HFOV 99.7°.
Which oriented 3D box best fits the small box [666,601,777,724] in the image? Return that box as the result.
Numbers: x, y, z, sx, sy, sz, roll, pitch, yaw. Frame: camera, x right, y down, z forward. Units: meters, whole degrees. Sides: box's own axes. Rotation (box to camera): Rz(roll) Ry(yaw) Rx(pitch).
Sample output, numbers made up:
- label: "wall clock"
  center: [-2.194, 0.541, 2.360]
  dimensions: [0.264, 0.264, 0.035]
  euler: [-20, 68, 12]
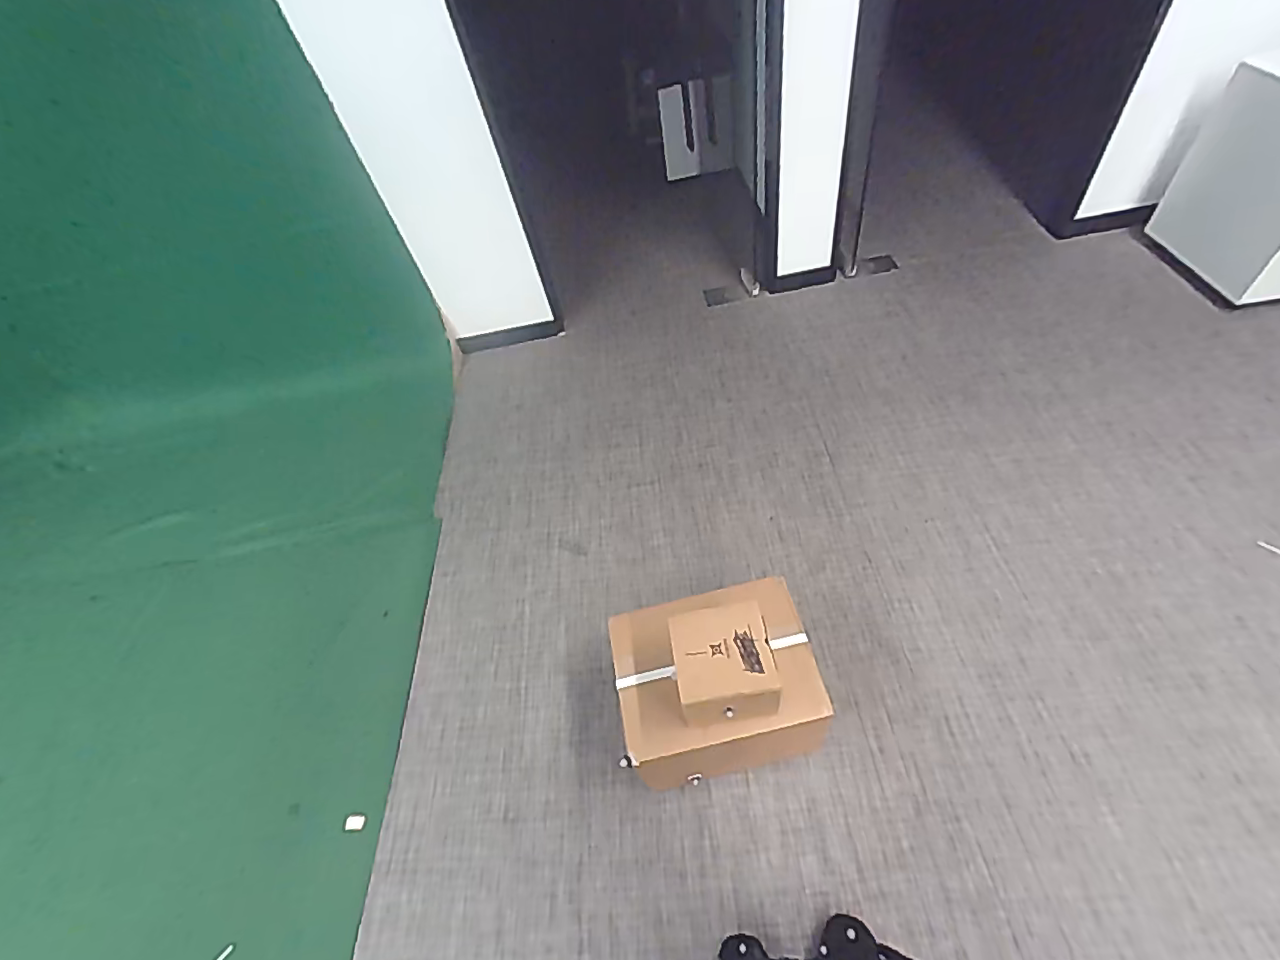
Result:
- label: "small box"
  center: [0.154, 0.354, 1.038]
  dimensions: [0.179, 0.176, 0.168]
  euler: [-11, 51, 4]
